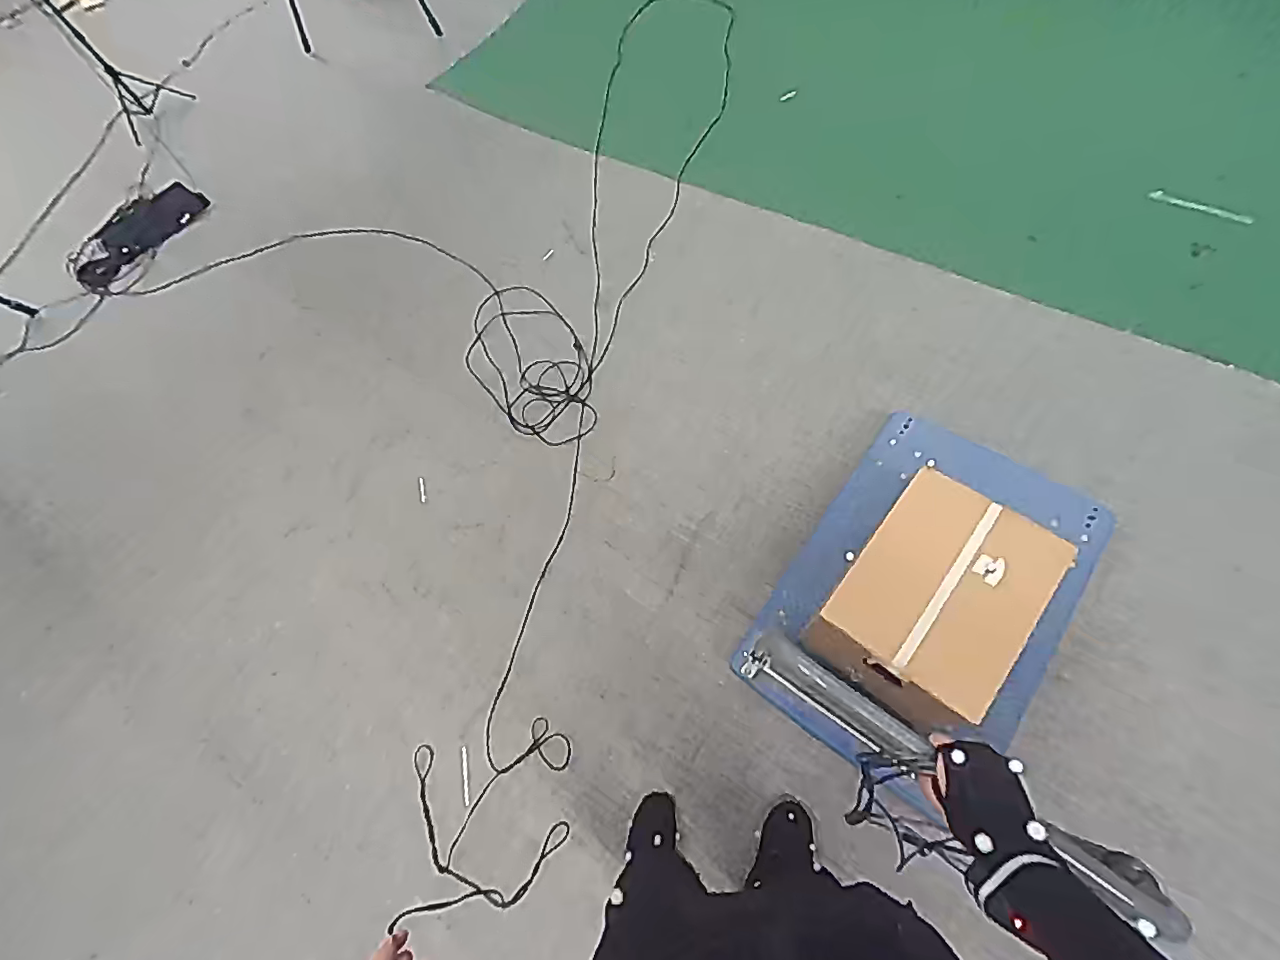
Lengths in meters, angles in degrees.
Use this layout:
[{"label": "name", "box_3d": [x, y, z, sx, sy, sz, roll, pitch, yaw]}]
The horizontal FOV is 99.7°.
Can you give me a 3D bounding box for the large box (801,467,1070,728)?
[{"label": "large box", "box_3d": [0.599, 0.261, 1.160, 0.320, 0.320, 0.408, 35, 74, 20]}]
